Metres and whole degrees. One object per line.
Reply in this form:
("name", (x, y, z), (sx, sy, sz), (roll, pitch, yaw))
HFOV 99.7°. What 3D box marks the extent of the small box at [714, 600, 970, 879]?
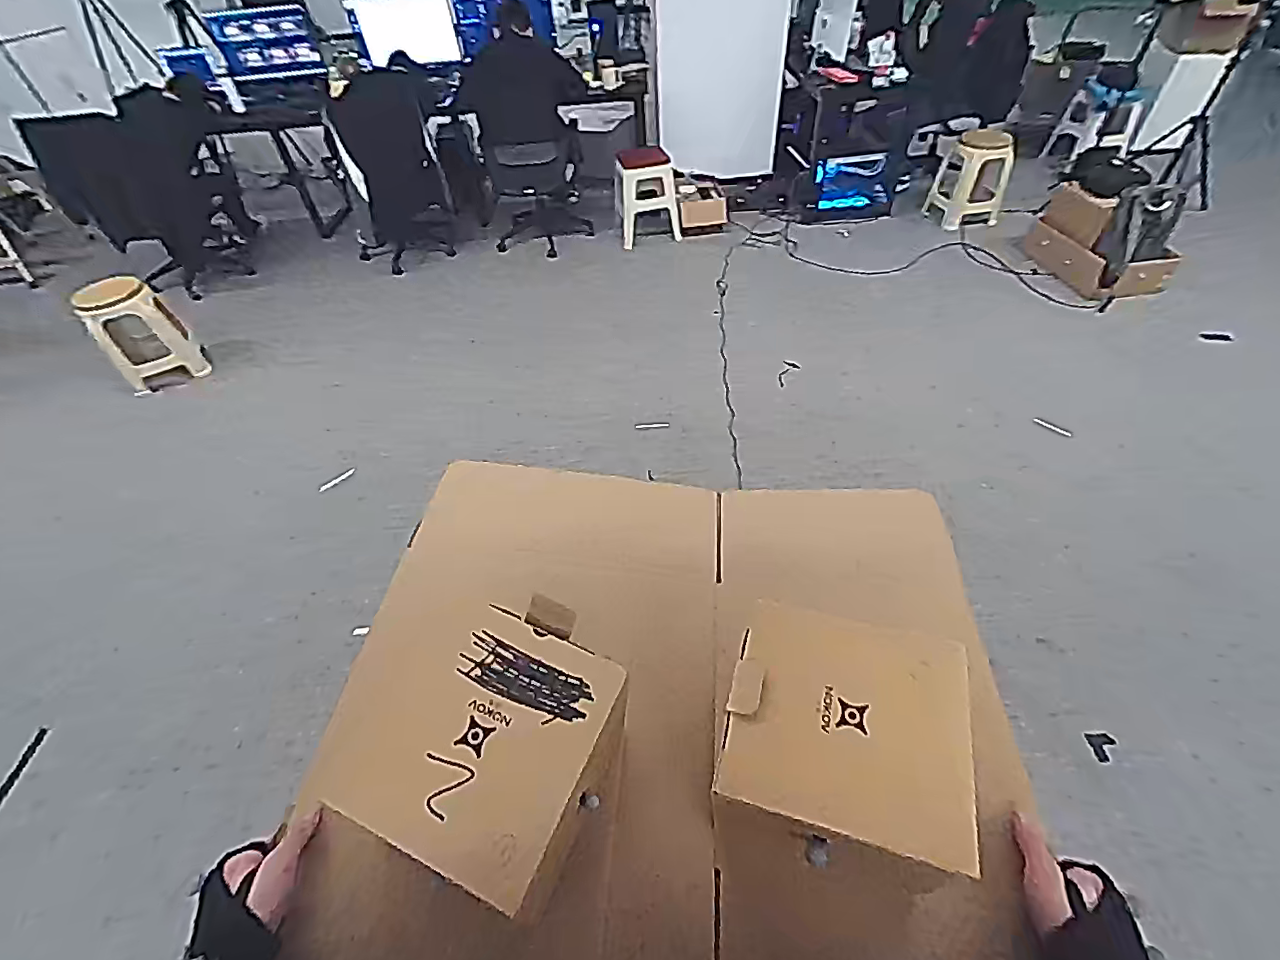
("small box", (0.173, 0.236, 0.490), (0.179, 0.176, 0.168), (8, 52, 18))
